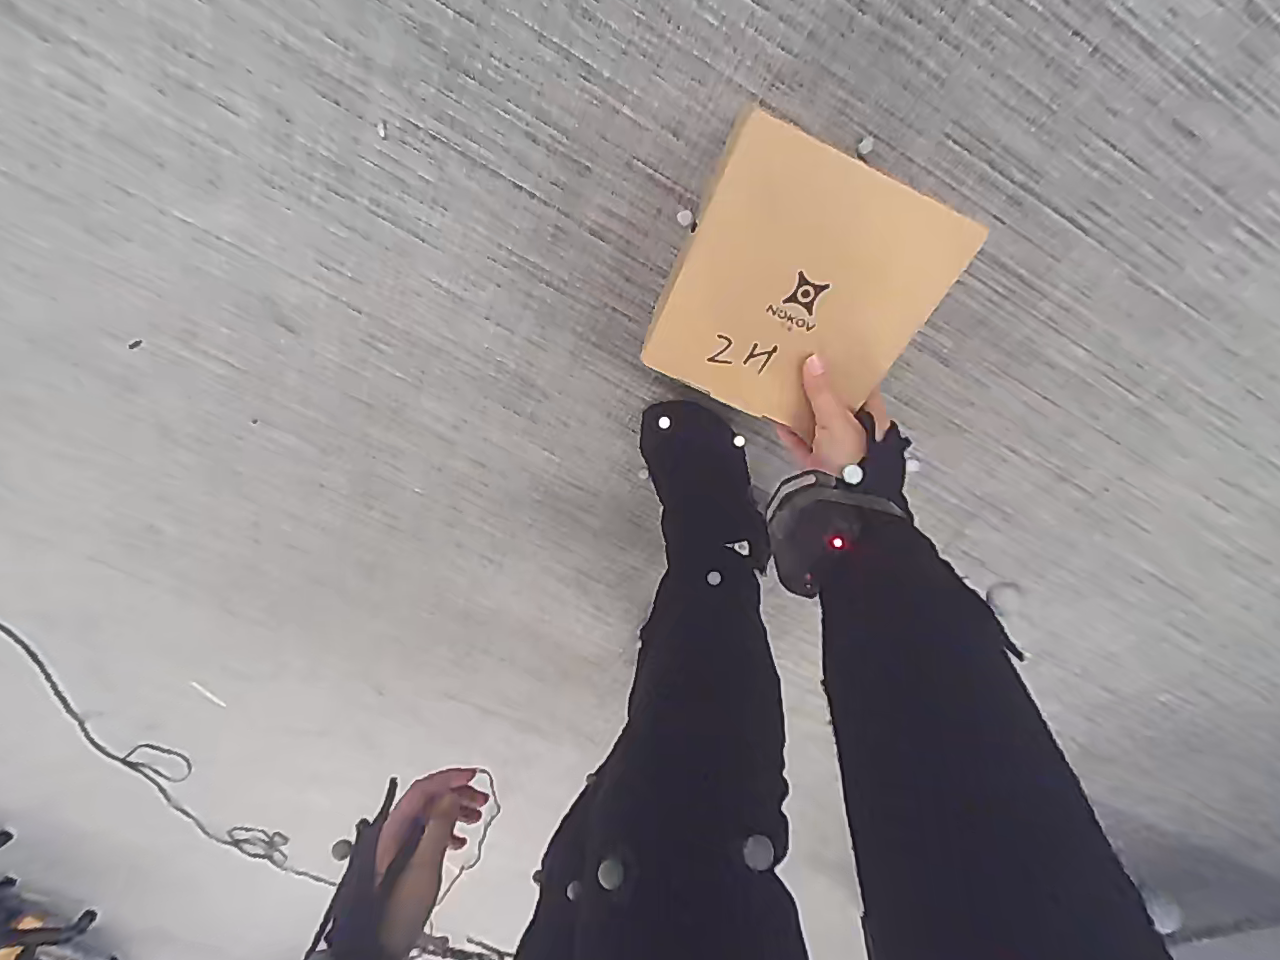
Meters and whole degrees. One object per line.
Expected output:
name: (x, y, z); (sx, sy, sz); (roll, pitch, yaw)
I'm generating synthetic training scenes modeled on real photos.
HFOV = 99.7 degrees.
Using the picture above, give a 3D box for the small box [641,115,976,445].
small box: (0.115, -0.166, 0.439); (0.168, 0.176, 0.179); (23, 125, -7)
